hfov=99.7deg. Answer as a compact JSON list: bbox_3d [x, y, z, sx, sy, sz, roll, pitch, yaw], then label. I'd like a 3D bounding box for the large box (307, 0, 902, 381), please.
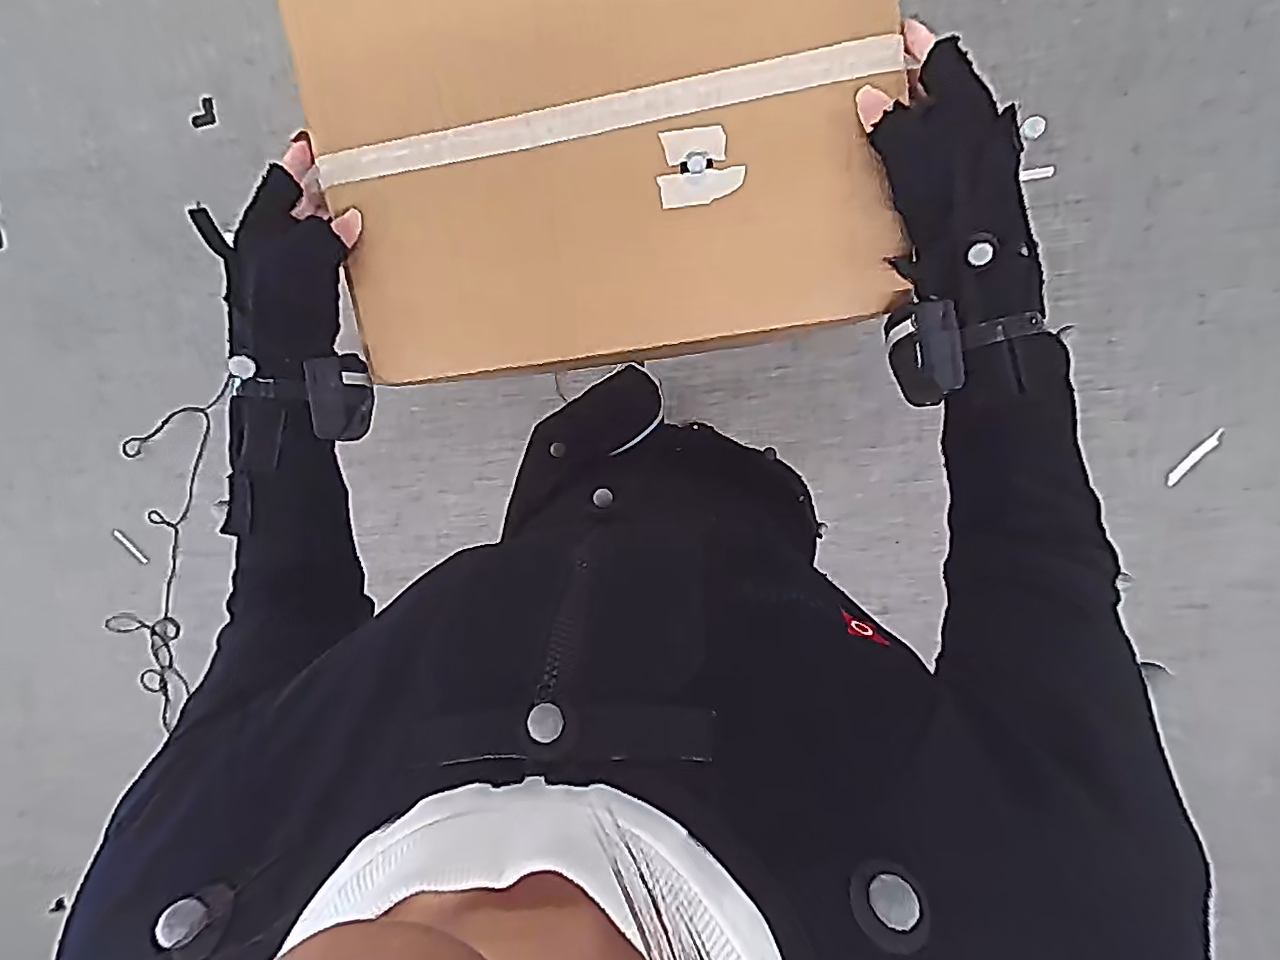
[{"bbox_3d":[-0.015,-0.282,0.532,0.408,0.320,0.320,-7,101,7],"label":"large box"}]
